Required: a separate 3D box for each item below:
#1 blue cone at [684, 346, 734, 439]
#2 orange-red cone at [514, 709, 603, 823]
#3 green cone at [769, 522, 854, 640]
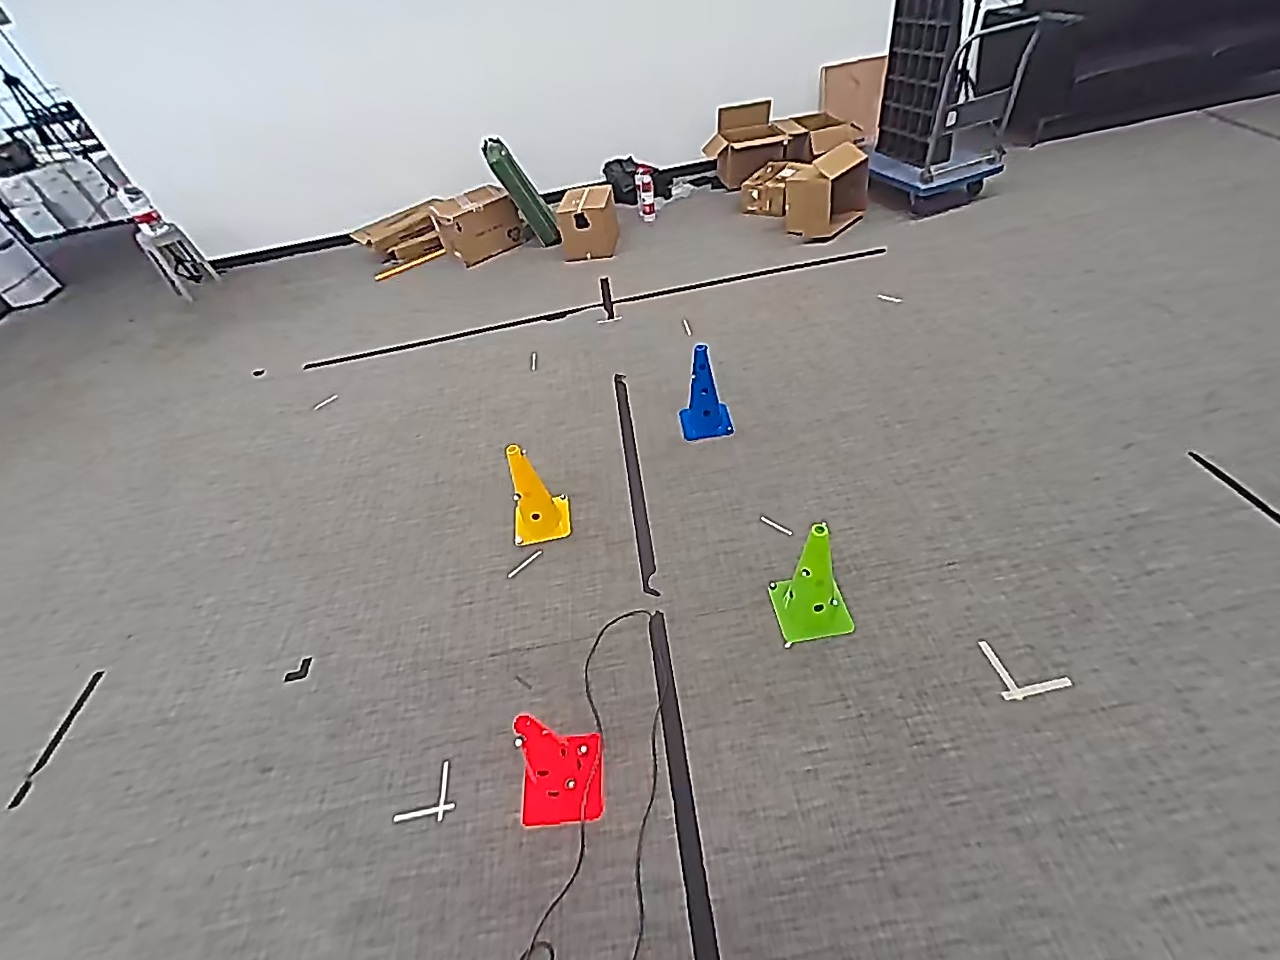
[{"bbox_3d":[0.262,-0.353,2.117,0.192,0.380,0.193,-7,45,3],"label":"blue cone"},{"bbox_3d":[-0.218,0.616,1.230,0.199,0.360,0.198,-8,43,5],"label":"orange-red cone"},{"bbox_3d":[0.472,0.247,1.454,0.202,0.368,0.200,-9,44,0],"label":"green cone"}]
